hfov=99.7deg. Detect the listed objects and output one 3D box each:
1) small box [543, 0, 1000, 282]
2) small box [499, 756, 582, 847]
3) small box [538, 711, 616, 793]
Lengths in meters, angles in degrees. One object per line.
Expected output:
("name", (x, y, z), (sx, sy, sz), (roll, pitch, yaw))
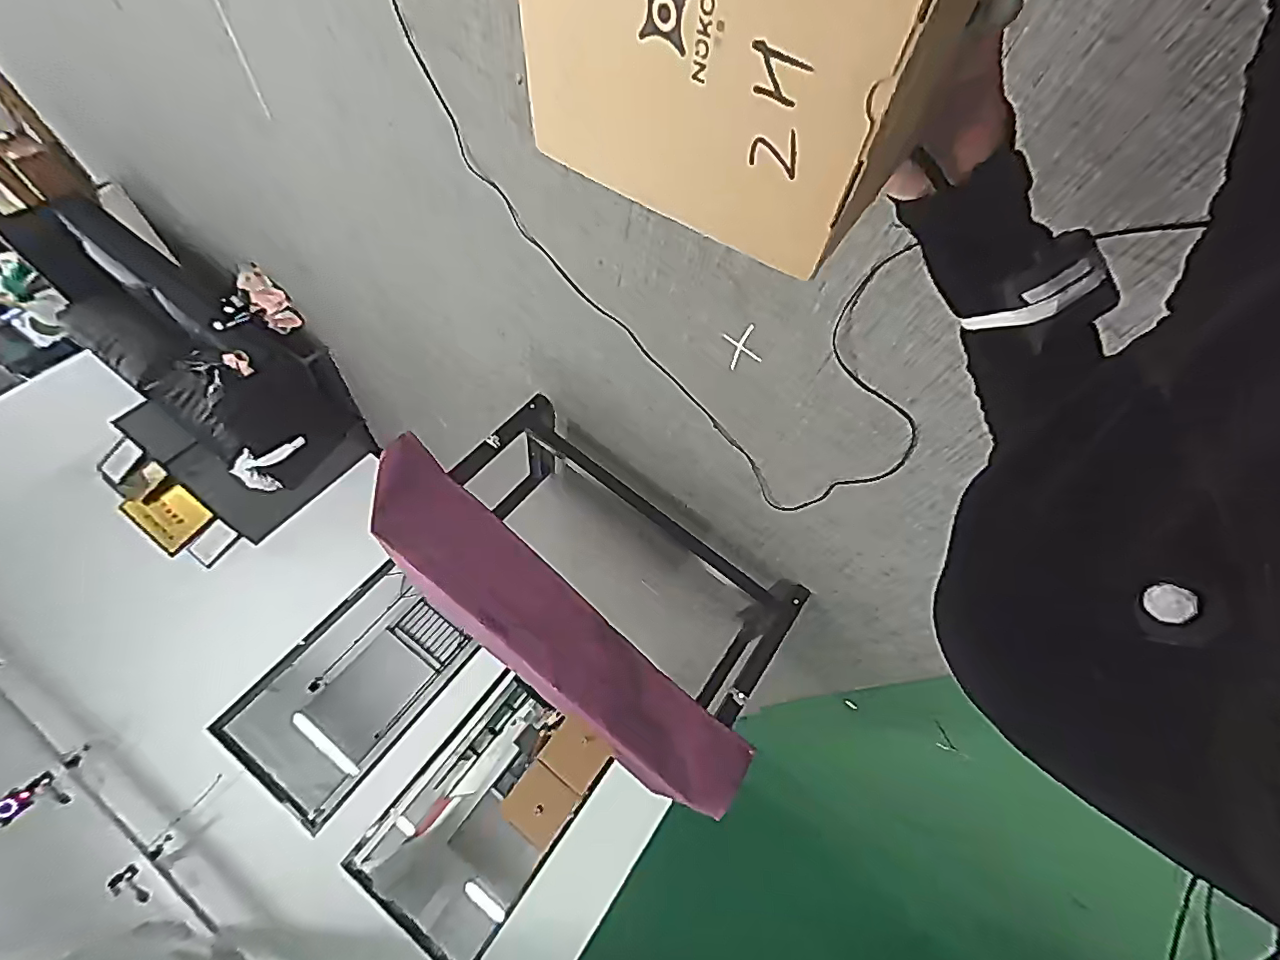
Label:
("small box", (0.070, -0.240, 0.261), (0.179, 0.176, 0.168), (32, 155, 12))
("small box", (-0.297, 0.958, 1.630), (0.179, 0.176, 0.168), (35, 153, 11))
("small box", (-0.198, 0.848, 1.703), (0.179, 0.176, 0.168), (36, 153, 12))
